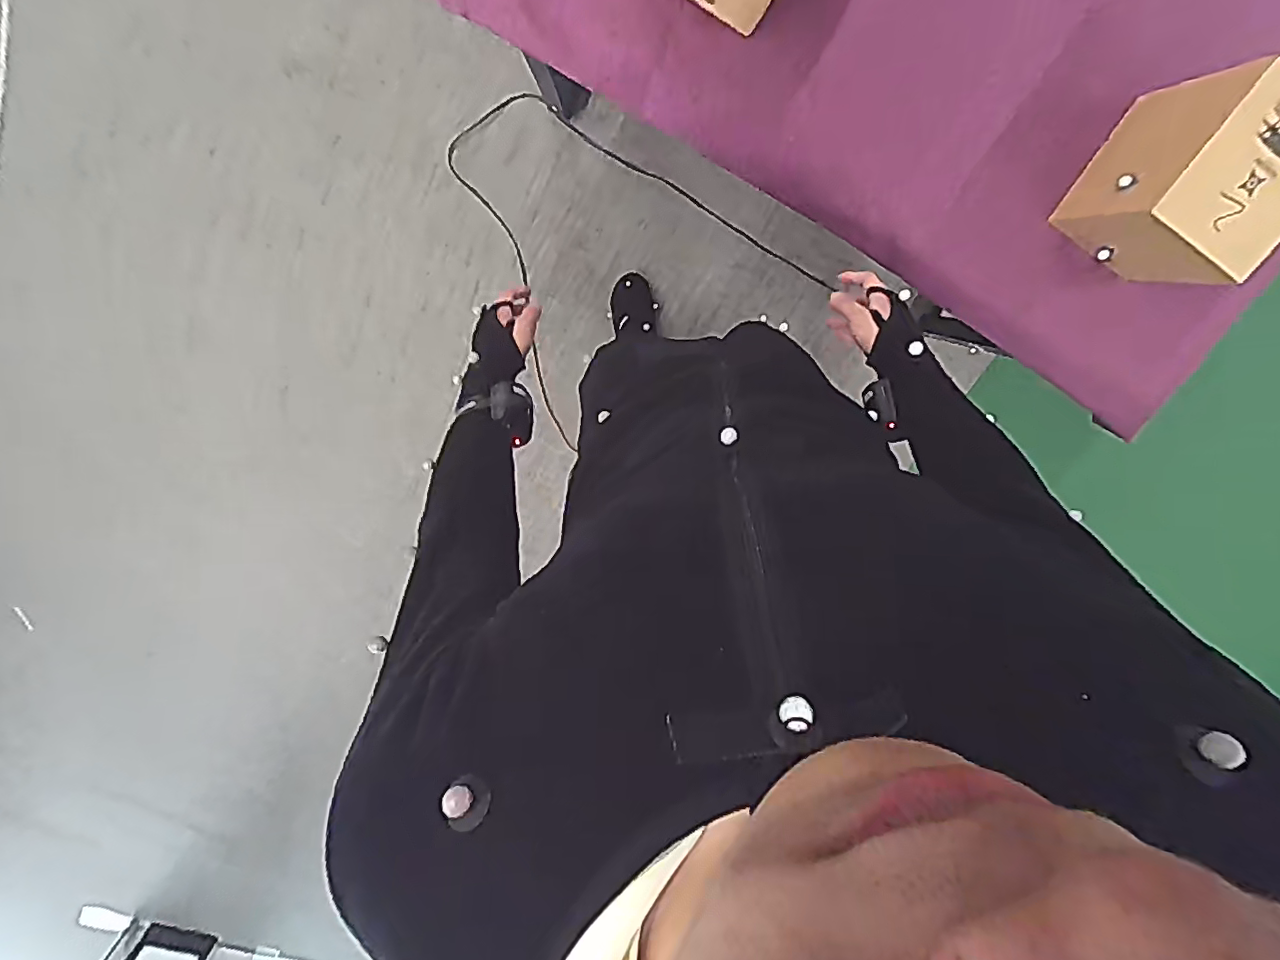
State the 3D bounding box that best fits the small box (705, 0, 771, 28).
[{"bbox_3d":[0.107,-0.628,0.558,0.168,0.176,0.179,24,108,-12],"label":"small box"}]
